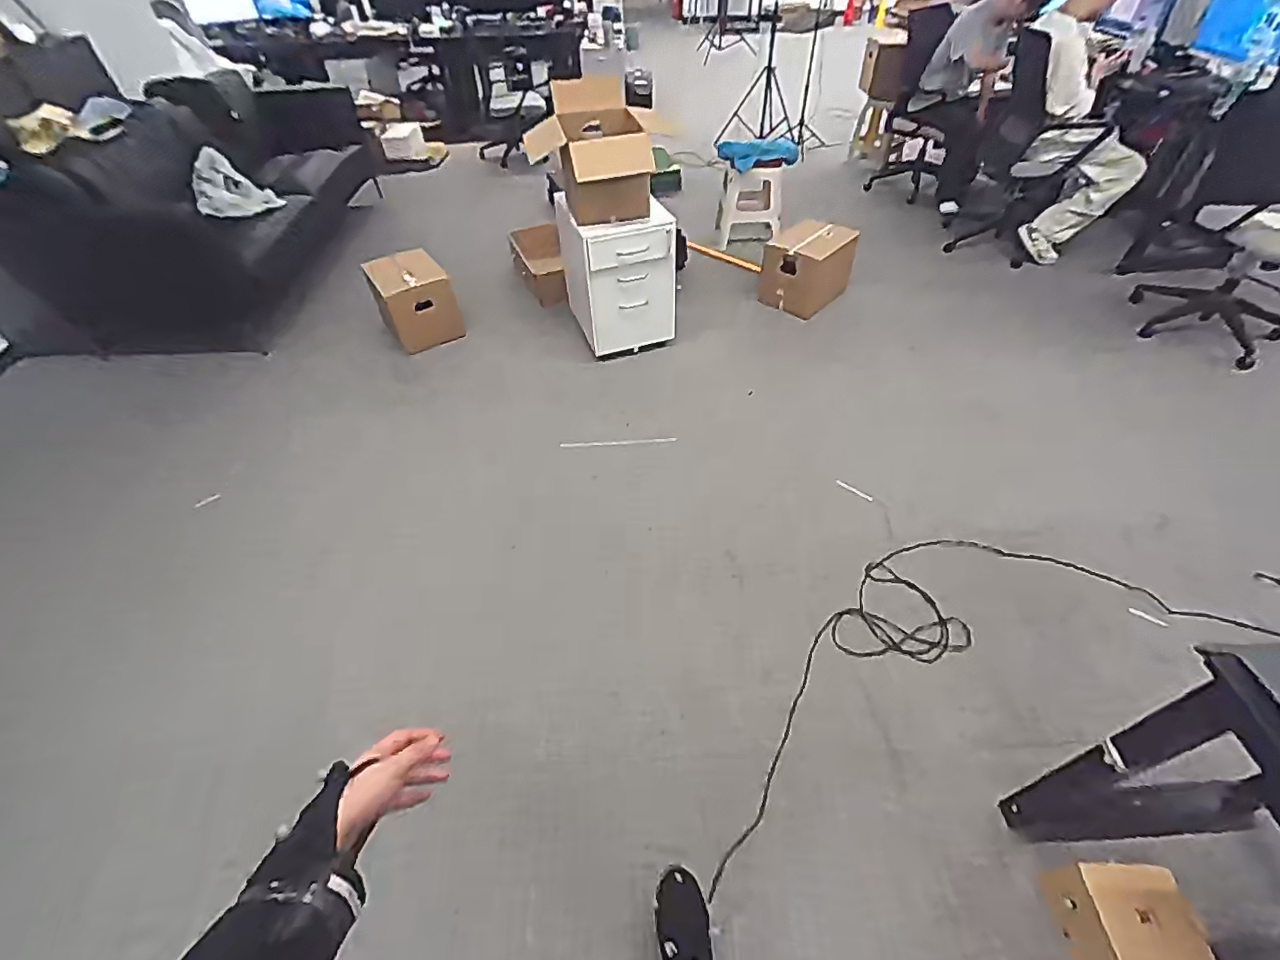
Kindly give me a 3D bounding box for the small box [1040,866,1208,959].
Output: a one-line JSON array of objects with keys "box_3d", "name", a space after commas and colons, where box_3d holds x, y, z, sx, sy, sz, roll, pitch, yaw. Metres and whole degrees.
[{"box_3d": [0.935, 0.879, 1.063, 0.179, 0.176, 0.168, 1, 46, 2], "name": "small box"}]
